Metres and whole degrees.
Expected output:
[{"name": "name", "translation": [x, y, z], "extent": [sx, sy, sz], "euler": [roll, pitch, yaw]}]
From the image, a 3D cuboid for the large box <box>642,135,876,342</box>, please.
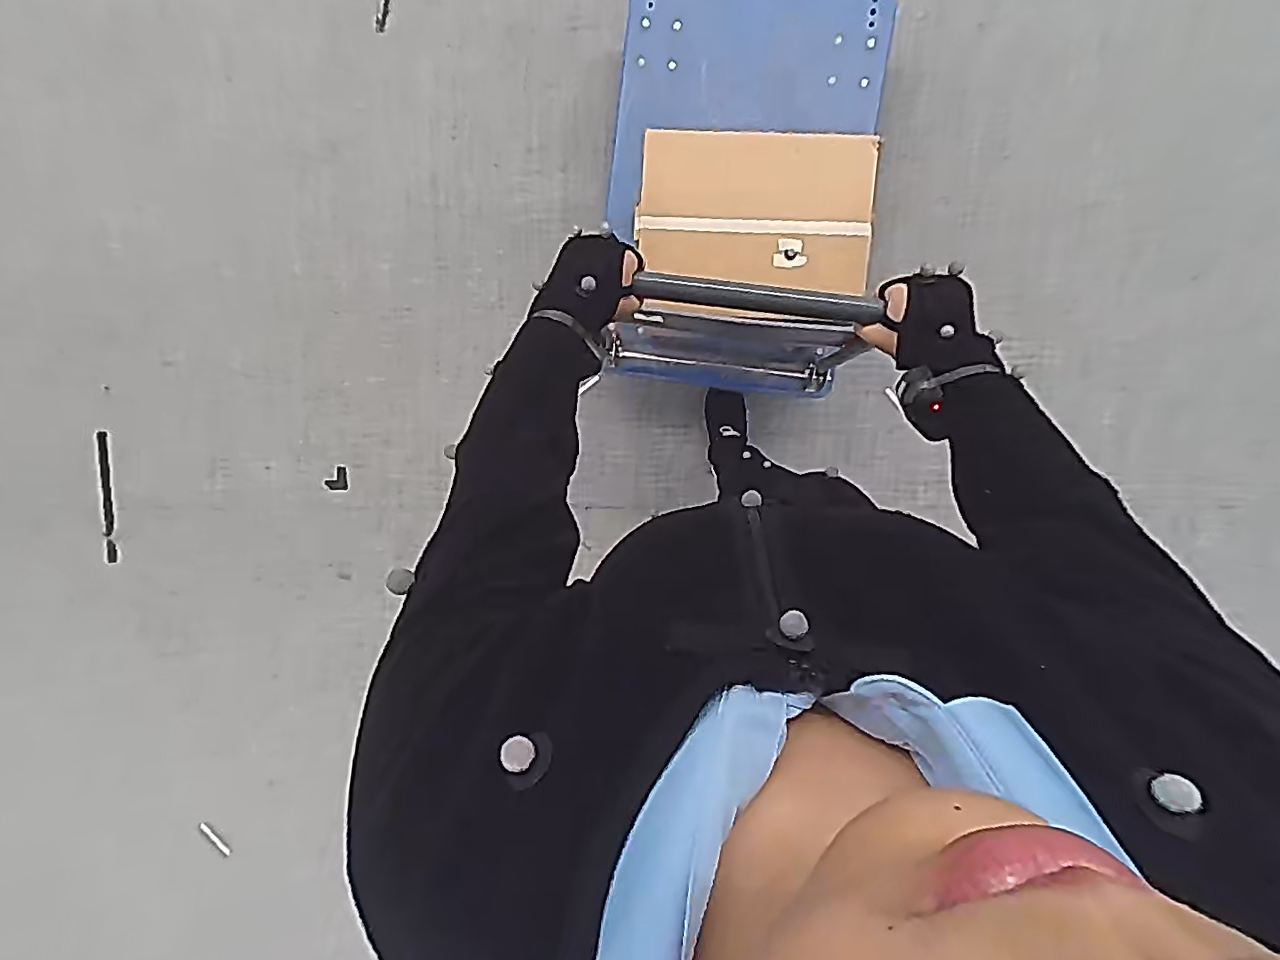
[{"name": "large box", "translation": [0.211, -0.464, 1.108], "extent": [0.408, 0.320, 0.320], "euler": [3, 98, 2]}]
